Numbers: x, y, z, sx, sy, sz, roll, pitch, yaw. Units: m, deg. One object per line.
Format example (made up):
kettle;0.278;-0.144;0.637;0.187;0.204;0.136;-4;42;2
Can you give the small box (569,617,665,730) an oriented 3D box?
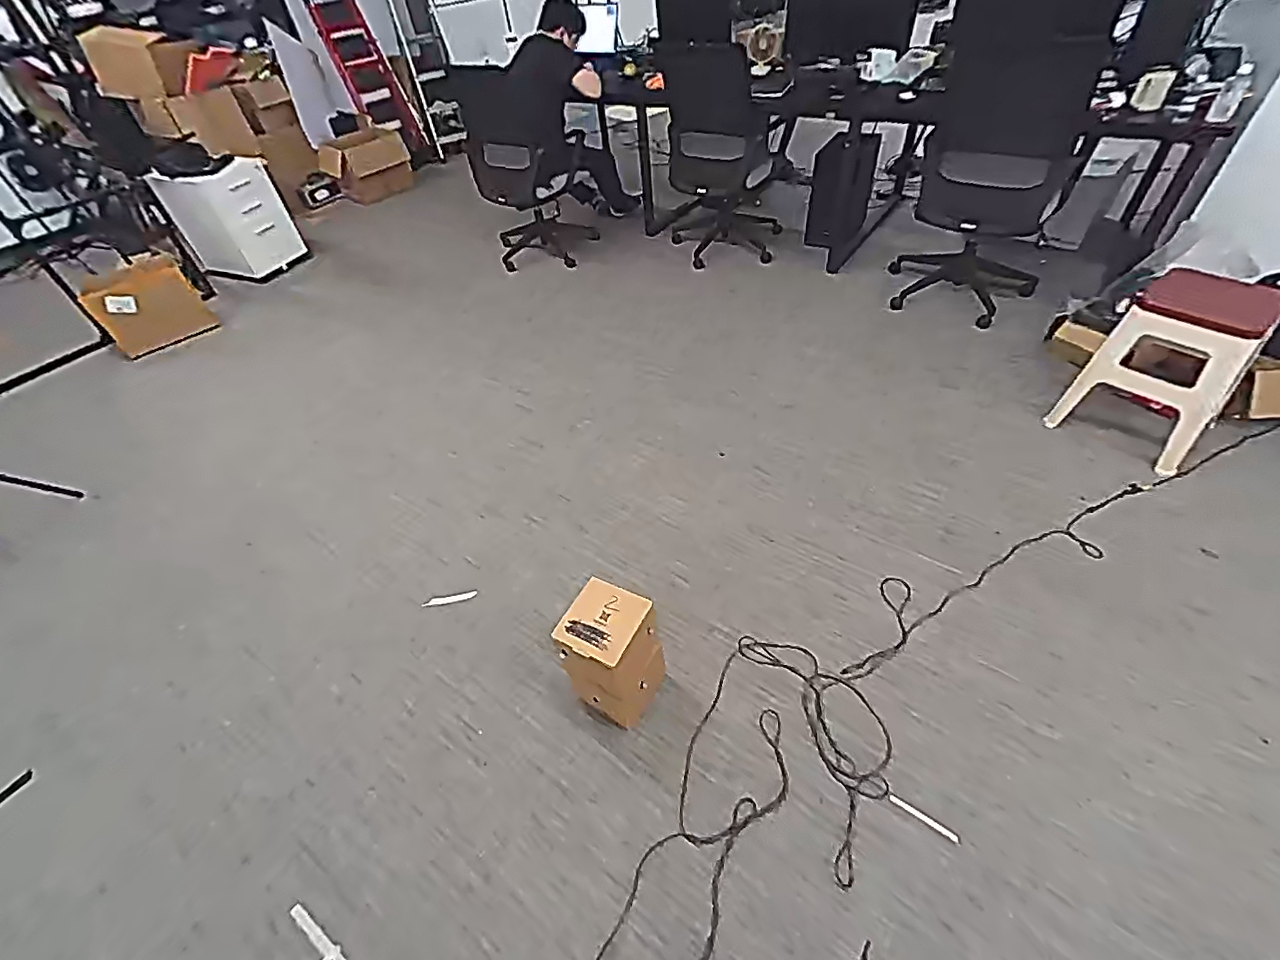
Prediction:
small box;-0.047;0.485;1.348;0.168;0.176;0.179;23;53;27
